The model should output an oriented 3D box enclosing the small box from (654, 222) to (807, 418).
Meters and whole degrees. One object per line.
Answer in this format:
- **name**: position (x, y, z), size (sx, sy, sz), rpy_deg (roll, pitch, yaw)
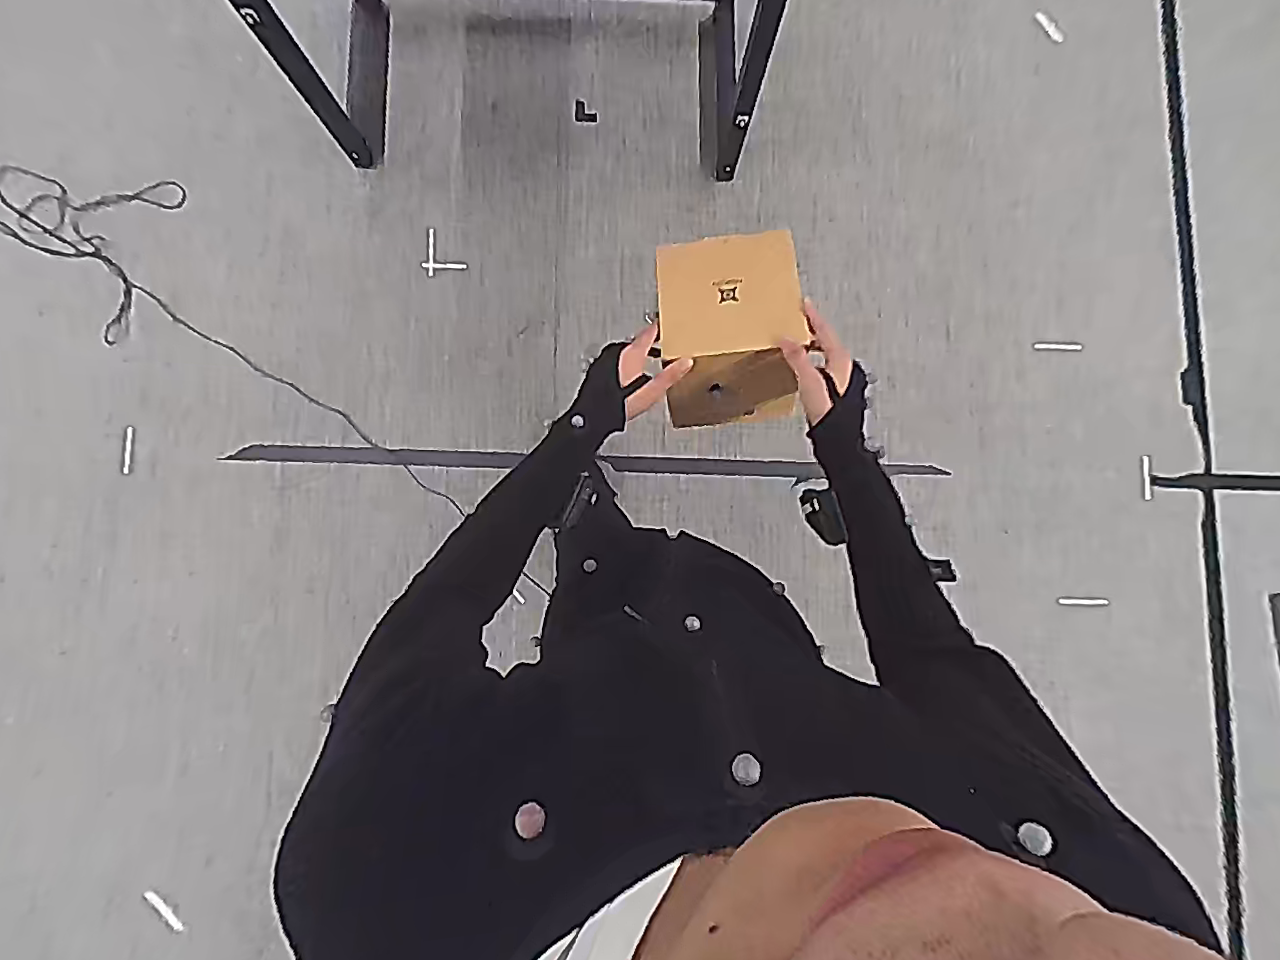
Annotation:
- **small box**: position (0.111, -0.191, 0.694), size (0.168, 0.176, 0.179), rpy_deg (-5, 66, 6)
